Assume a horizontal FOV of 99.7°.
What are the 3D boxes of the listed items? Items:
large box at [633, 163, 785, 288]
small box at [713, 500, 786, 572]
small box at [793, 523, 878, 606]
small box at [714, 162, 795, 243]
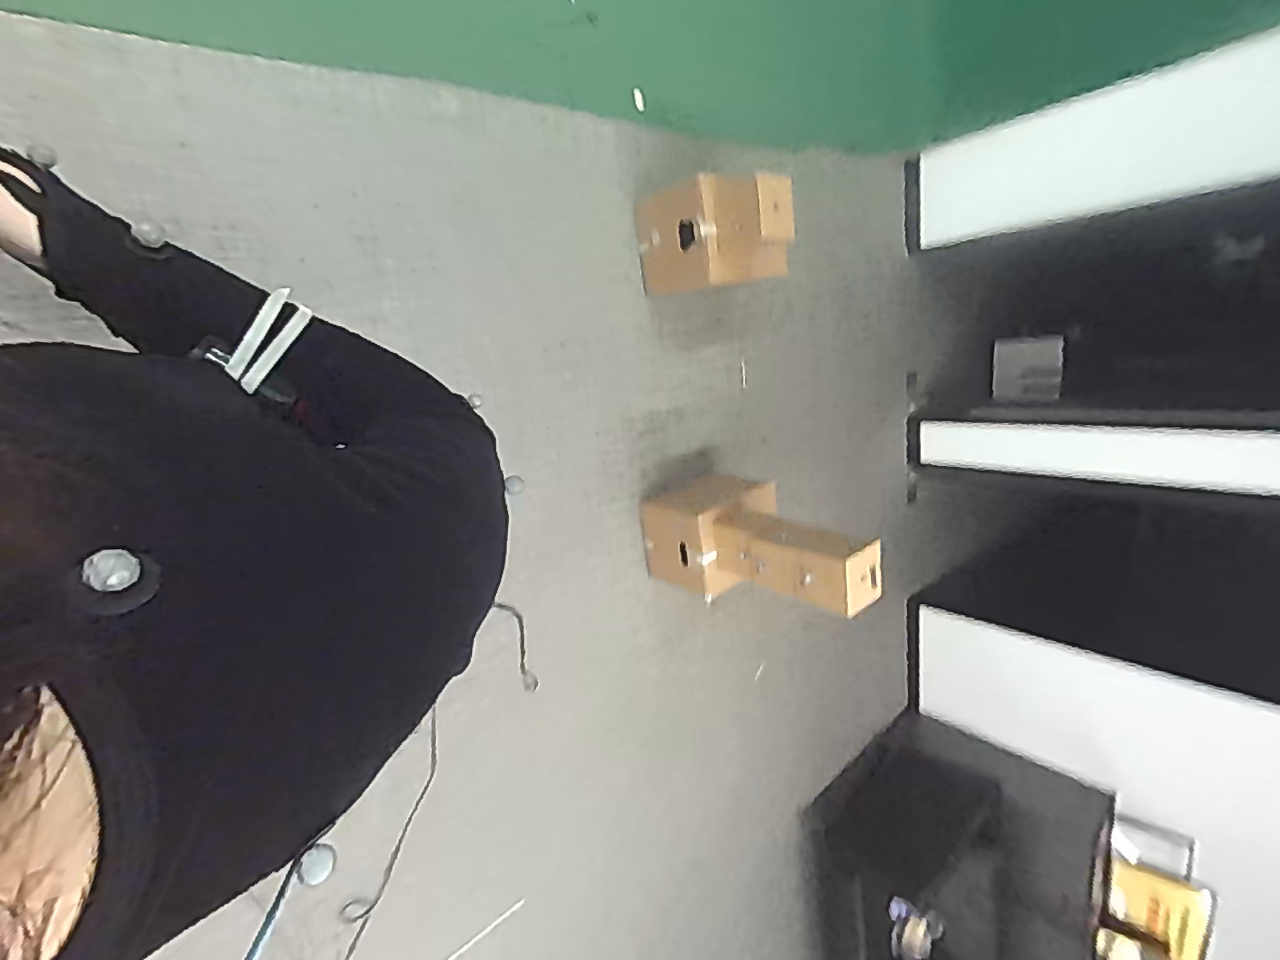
[{"bbox_3d":[0.239,-0.857,1.849,0.408,0.320,0.320,-21,110,-36],"label":"large box"},{"bbox_3d":[0.365,0.183,1.816,0.168,0.176,0.179,-22,110,-35],"label":"small box"},{"bbox_3d":[0.563,0.233,1.558,0.179,0.176,0.168,-18,108,-34],"label":"small box"},{"bbox_3d":[0.341,-0.820,1.617,0.168,0.176,0.179,-18,106,-37],"label":"small box"}]
